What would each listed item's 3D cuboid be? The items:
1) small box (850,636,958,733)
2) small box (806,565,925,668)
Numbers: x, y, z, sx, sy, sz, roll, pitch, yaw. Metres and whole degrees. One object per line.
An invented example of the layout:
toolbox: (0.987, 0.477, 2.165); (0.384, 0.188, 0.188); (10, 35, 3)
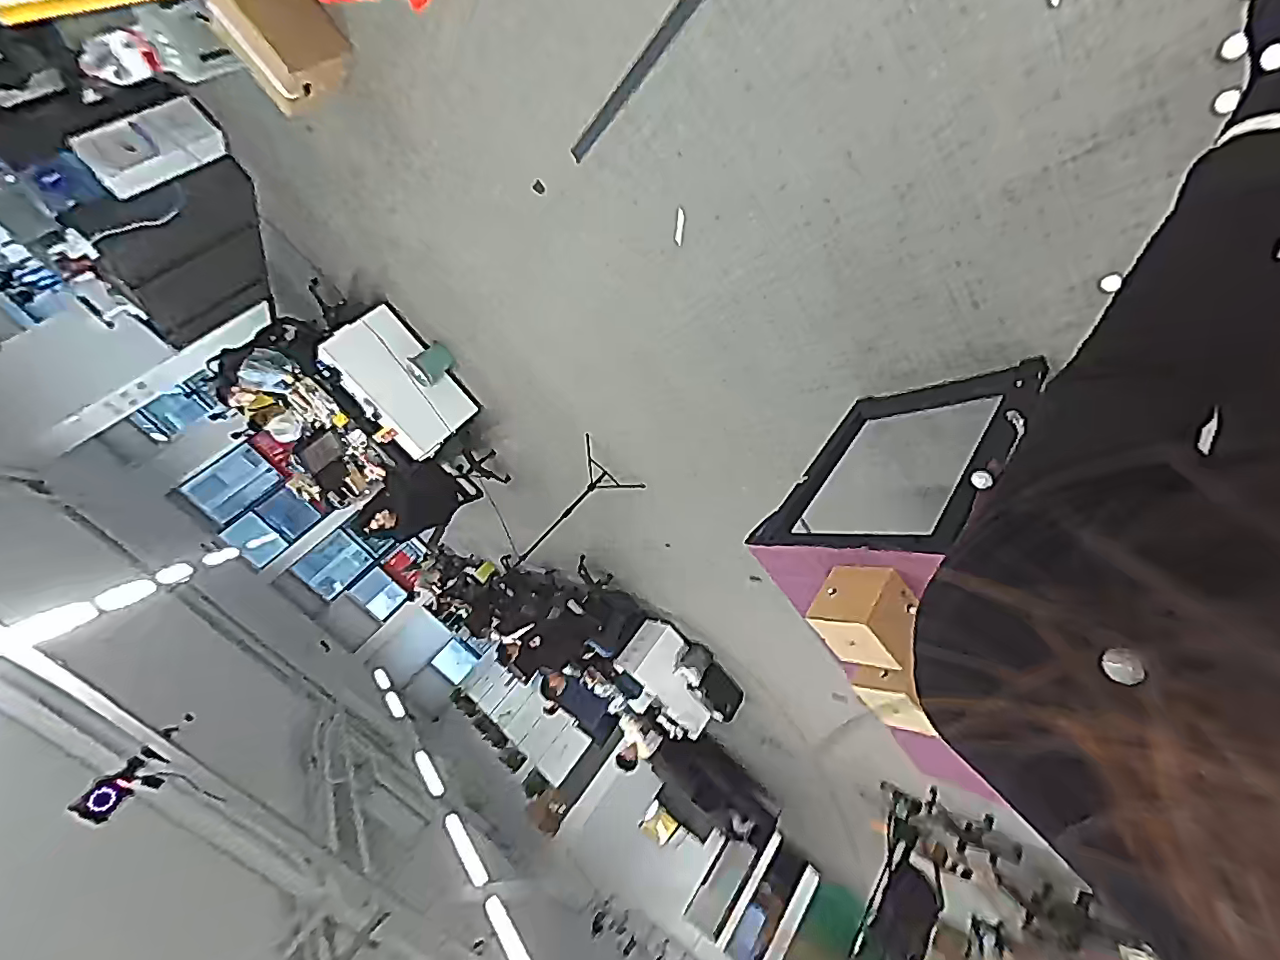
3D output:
small box: (0.695, 0.520, 1.410); (0.168, 0.176, 0.179); (47, 154, -10)
small box: (0.545, 0.319, 1.304); (0.168, 0.176, 0.179); (48, 154, -16)
